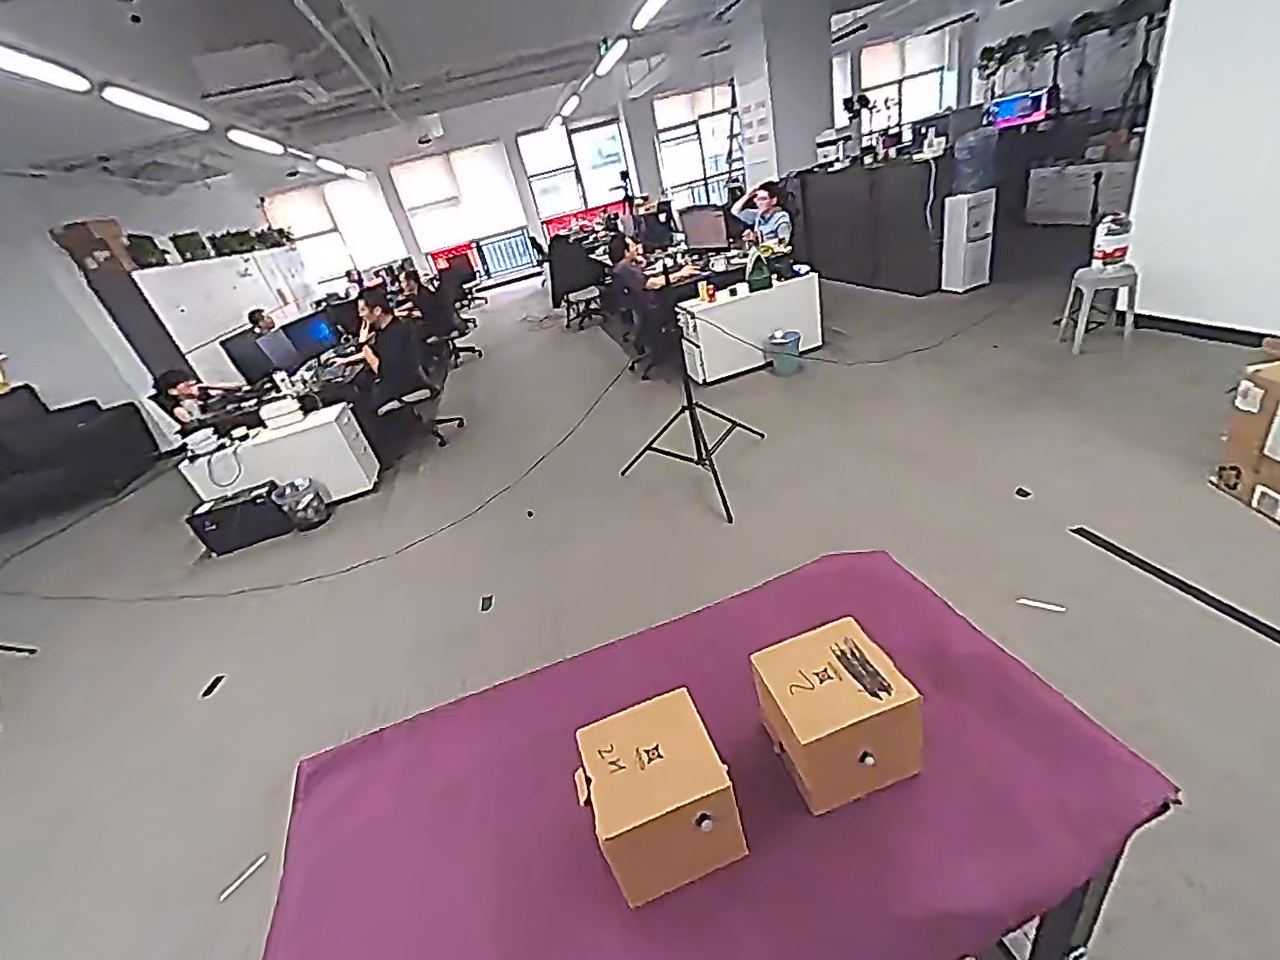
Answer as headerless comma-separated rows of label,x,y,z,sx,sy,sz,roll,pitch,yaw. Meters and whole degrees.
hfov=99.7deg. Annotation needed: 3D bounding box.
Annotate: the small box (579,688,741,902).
small box,0.031,0.439,0.762,0.179,0.176,0.168,-20,28,-8
